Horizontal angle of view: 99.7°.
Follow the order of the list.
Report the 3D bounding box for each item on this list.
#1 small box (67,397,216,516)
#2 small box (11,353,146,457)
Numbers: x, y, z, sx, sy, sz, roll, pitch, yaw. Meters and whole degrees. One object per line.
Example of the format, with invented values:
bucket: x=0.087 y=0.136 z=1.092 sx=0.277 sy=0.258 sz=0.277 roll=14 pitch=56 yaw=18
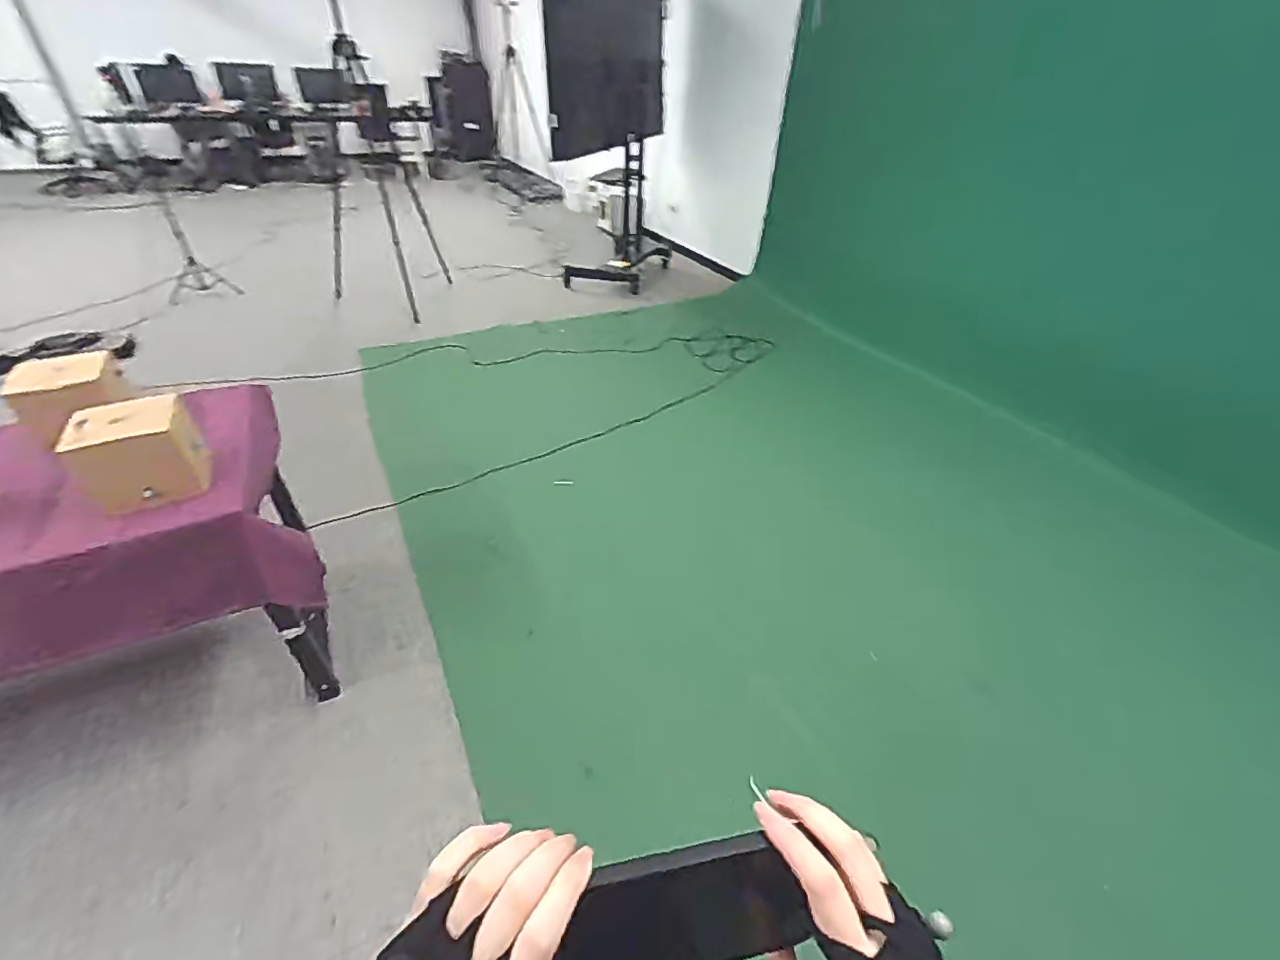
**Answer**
small box: x=-1.034 y=-0.050 z=1.144 sx=0.179 sy=0.176 sz=0.168 roll=-17 pitch=42 yaw=-23
small box: x=-1.317 y=-0.180 z=1.292 sx=0.168 sy=0.176 sz=0.179 roll=-19 pitch=43 yaw=-24
